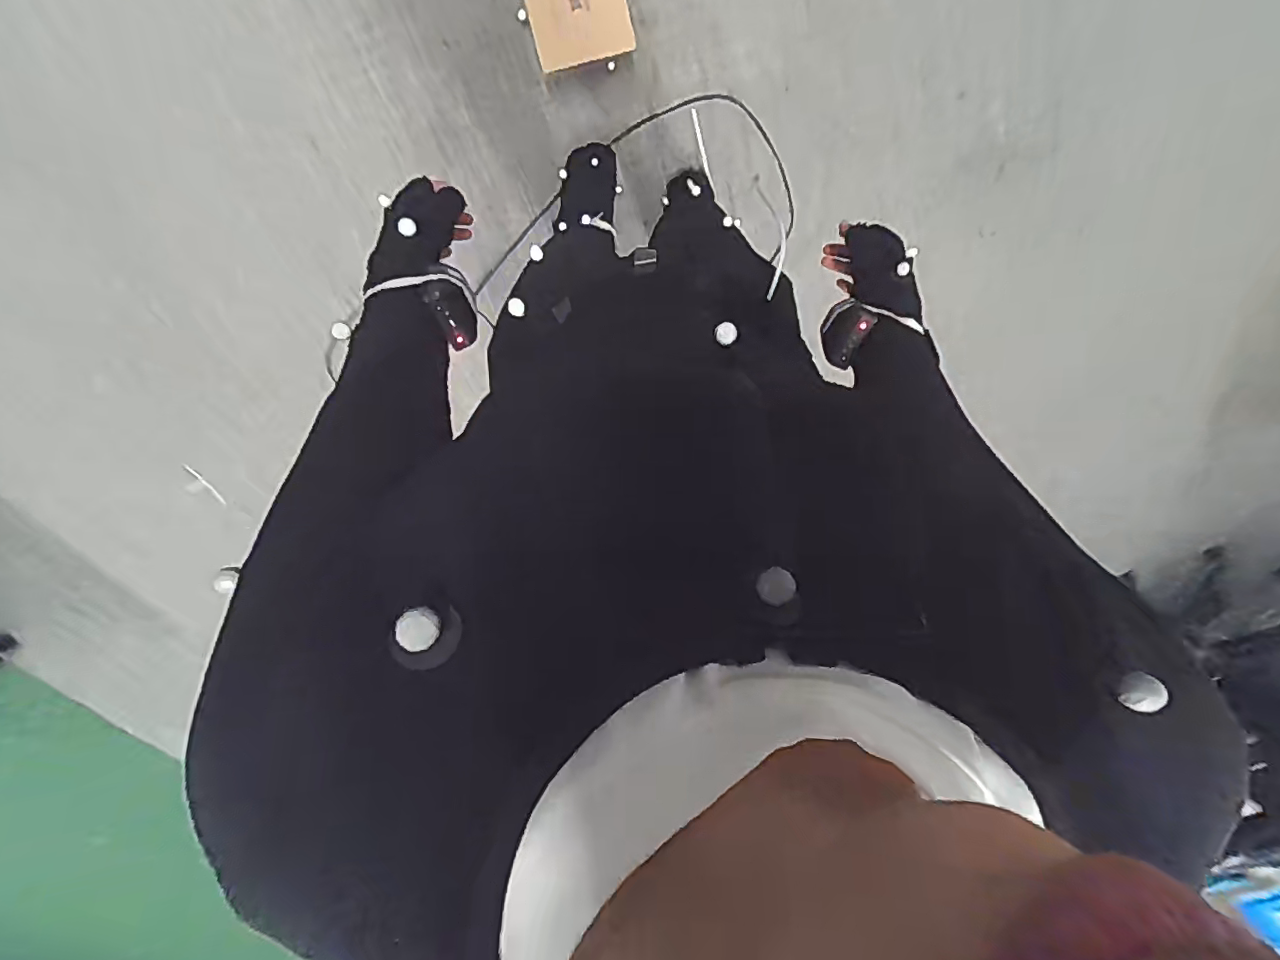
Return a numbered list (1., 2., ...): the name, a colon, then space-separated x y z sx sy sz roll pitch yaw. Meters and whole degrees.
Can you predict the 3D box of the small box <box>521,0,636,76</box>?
1. small box: -0.118 -0.841 0.963 0.179 0.176 0.168 -14 125 0
